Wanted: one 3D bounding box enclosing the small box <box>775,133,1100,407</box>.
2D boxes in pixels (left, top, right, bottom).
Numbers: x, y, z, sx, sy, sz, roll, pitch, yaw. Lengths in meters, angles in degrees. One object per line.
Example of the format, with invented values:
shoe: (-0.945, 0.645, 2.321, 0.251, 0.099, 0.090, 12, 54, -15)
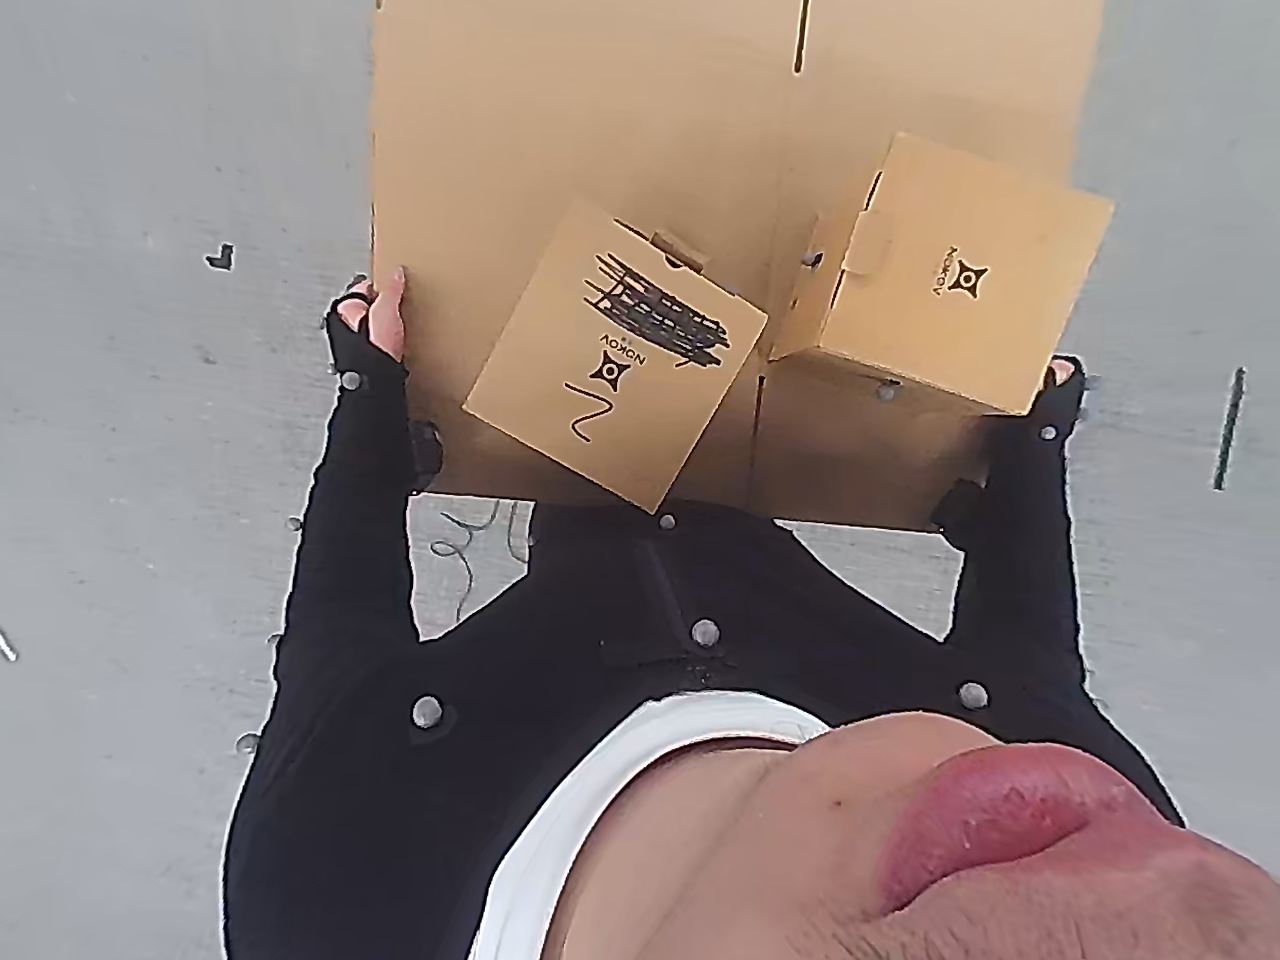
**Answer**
small box: (0.247, -0.173, 0.500, 0.179, 0.176, 0.168, 18, 98, 0)
